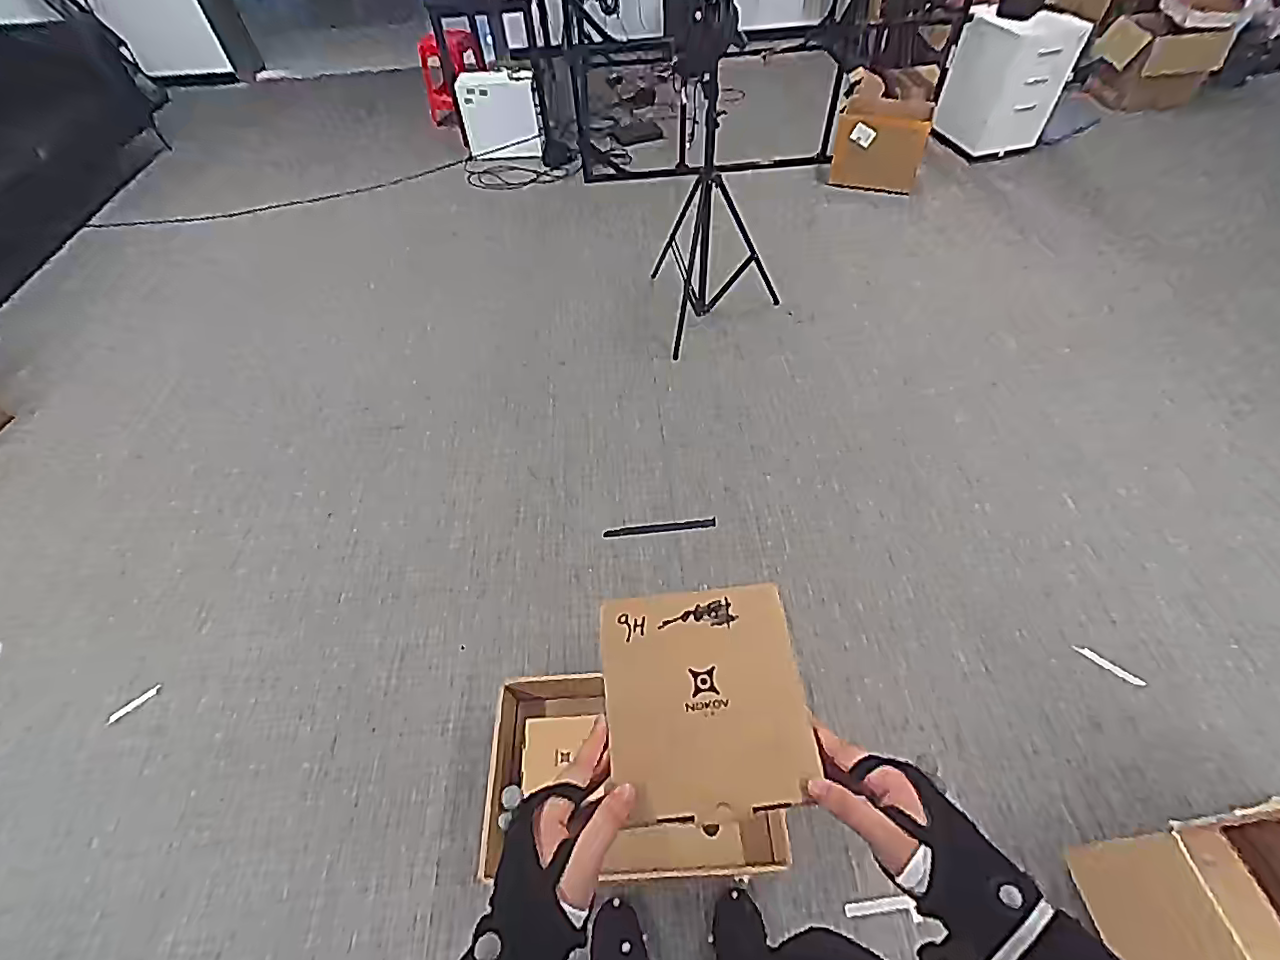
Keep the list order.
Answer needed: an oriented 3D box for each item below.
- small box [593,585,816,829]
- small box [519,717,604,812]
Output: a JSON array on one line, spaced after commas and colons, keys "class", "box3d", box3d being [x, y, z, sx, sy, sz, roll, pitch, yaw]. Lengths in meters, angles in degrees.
[{"class": "small box", "box3d": [0.047, 0.216, 0.517, 0.168, 0.176, 0.179, -5, 61, -4]}, {"class": "small box", "box3d": [-0.163, 0.643, 1.218, 0.179, 0.176, 0.168, -3, 55, -1]}]
